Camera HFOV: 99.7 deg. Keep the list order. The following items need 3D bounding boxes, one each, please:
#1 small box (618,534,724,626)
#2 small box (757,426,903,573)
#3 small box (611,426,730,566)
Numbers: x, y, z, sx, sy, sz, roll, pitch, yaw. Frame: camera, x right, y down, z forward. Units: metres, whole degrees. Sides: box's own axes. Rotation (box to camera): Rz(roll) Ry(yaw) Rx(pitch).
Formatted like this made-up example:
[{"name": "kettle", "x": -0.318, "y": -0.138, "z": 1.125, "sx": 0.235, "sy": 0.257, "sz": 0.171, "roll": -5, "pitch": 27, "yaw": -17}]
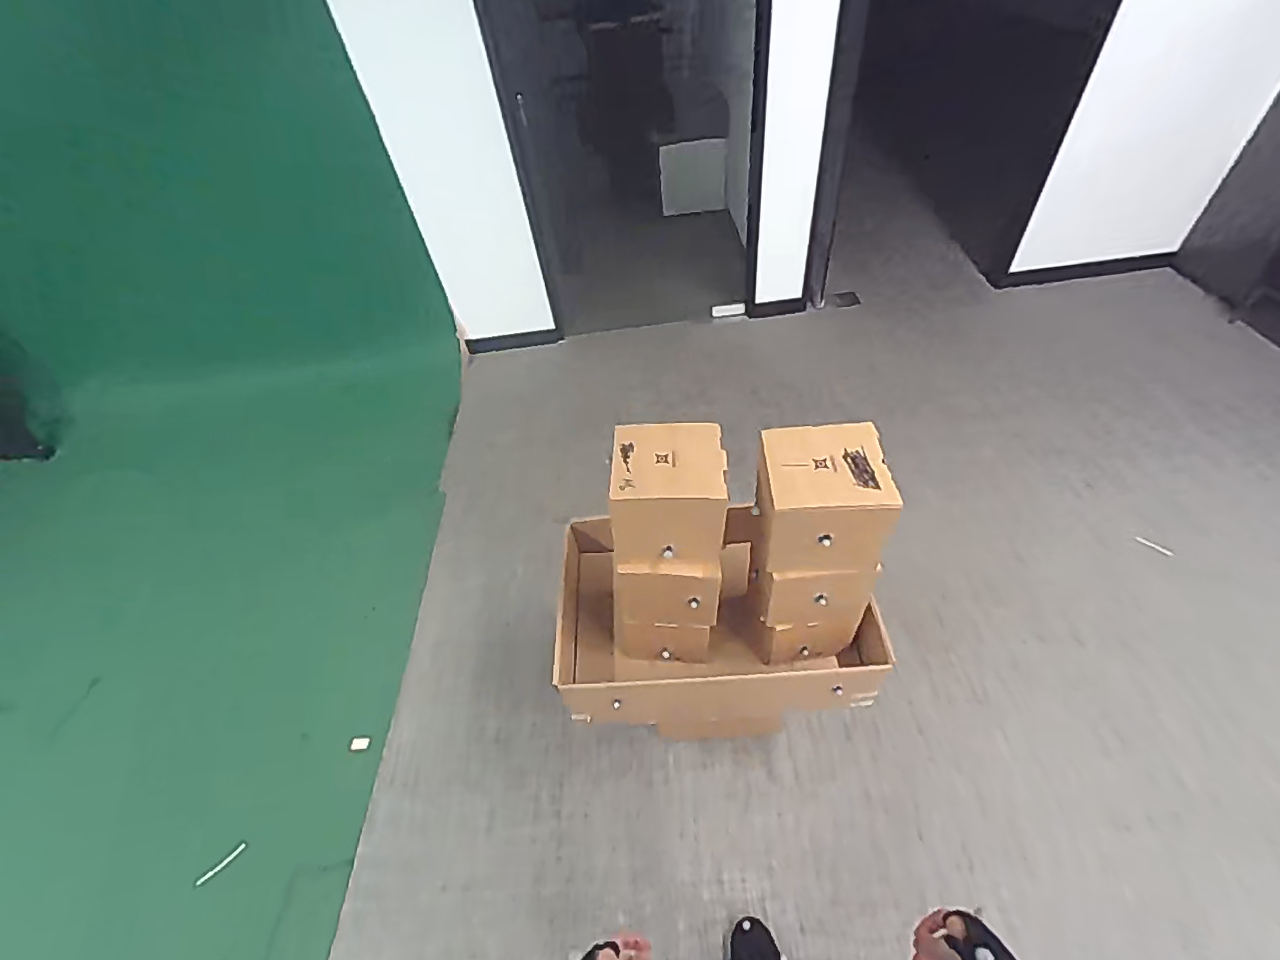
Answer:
[{"name": "small box", "x": 0.060, "y": 0.156, "z": 0.998, "sx": 0.179, "sy": 0.176, "sz": 0.168, "roll": 2, "pitch": 47, "yaw": 6}, {"name": "small box", "x": 0.284, "y": 0.035, "z": 0.853, "sx": 0.179, "sy": 0.176, "sz": 0.168, "roll": -3, "pitch": 48, "yaw": 7}, {"name": "small box", "x": 0.048, "y": 0.029, "z": 0.895, "sx": 0.179, "sy": 0.176, "sz": 0.168, "roll": 1, "pitch": 46, "yaw": 2}]
